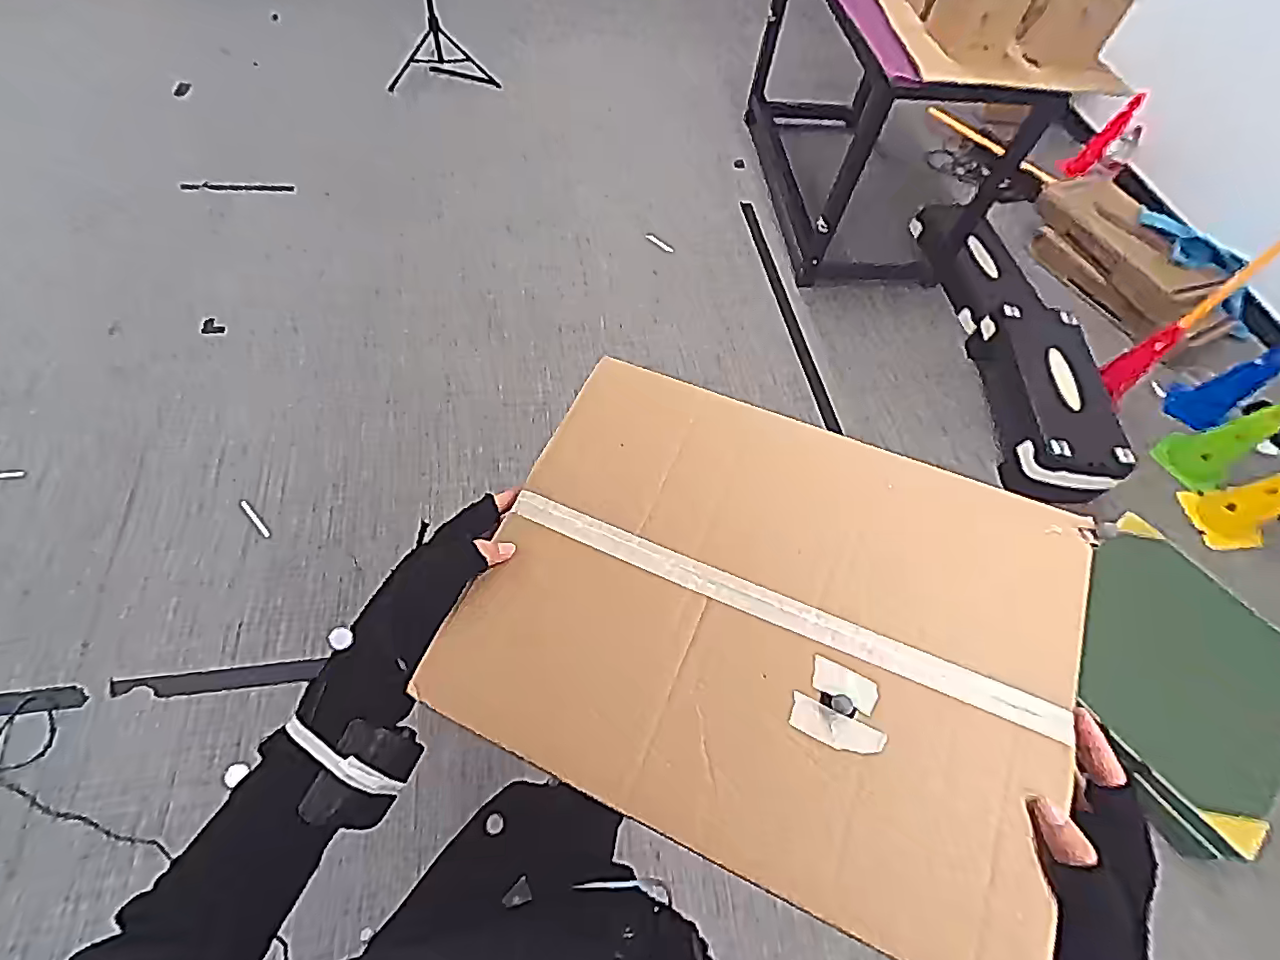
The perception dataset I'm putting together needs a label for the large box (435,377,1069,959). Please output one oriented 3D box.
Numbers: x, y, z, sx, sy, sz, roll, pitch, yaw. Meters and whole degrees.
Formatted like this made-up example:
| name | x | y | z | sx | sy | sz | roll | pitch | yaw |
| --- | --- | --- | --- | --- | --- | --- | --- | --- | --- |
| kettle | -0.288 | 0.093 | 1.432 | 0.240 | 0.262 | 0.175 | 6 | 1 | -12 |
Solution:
| name | x | y | z | sx | sy | sz | roll | pitch | yaw |
| --- | --- | --- | --- | --- | --- | --- | --- | --- | --- |
| large box | 0.096 | 0.160 | 0.535 | 0.408 | 0.320 | 0.320 | 21 | 67 | 13 |
